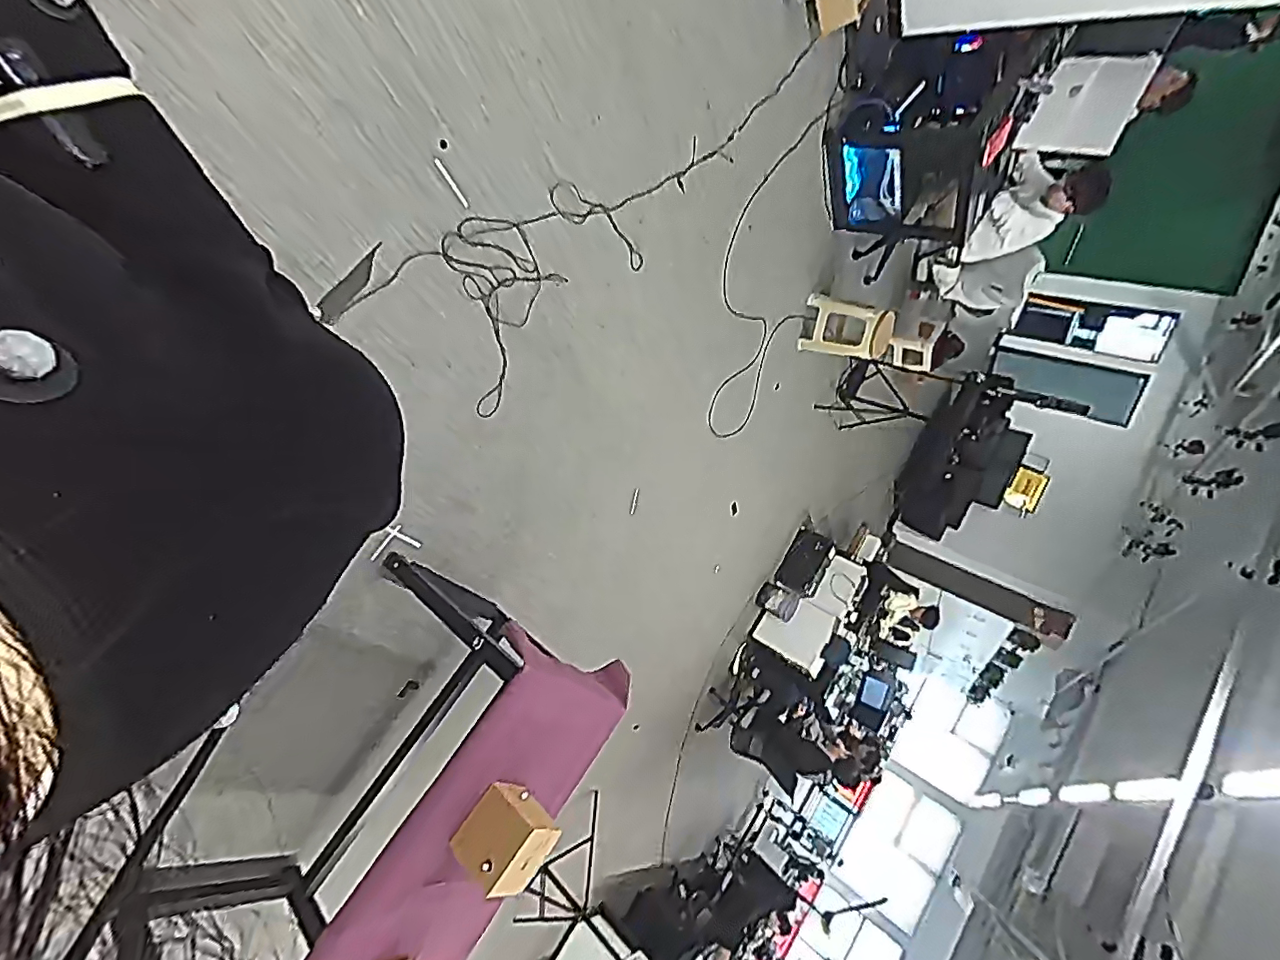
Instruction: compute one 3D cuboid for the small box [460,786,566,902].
[{"bbox_3d":[-0.328,0.920,1.374,0.179,0.176,0.168,-53,145,-16],"label":"small box"}]
